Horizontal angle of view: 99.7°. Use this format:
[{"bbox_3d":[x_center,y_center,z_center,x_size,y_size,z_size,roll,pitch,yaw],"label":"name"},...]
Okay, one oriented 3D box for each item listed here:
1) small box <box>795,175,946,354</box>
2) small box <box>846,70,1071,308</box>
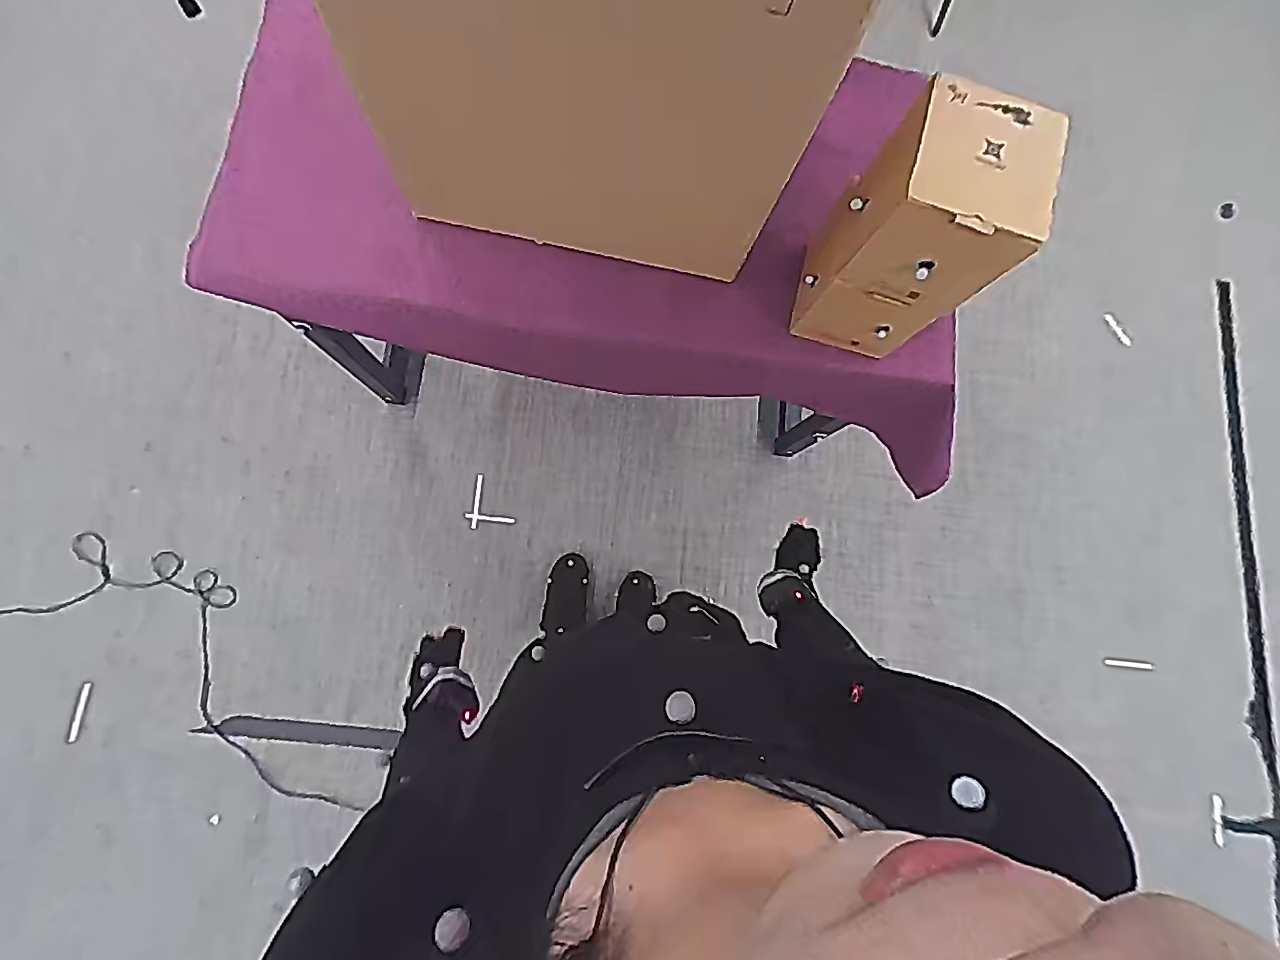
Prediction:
[{"bbox_3d":[0.357,-0.319,0.837,0.168,0.176,0.179,15,78,-4],"label":"small box"},{"bbox_3d":[0.382,-0.346,0.678,0.168,0.176,0.179,19,79,-2],"label":"small box"}]
